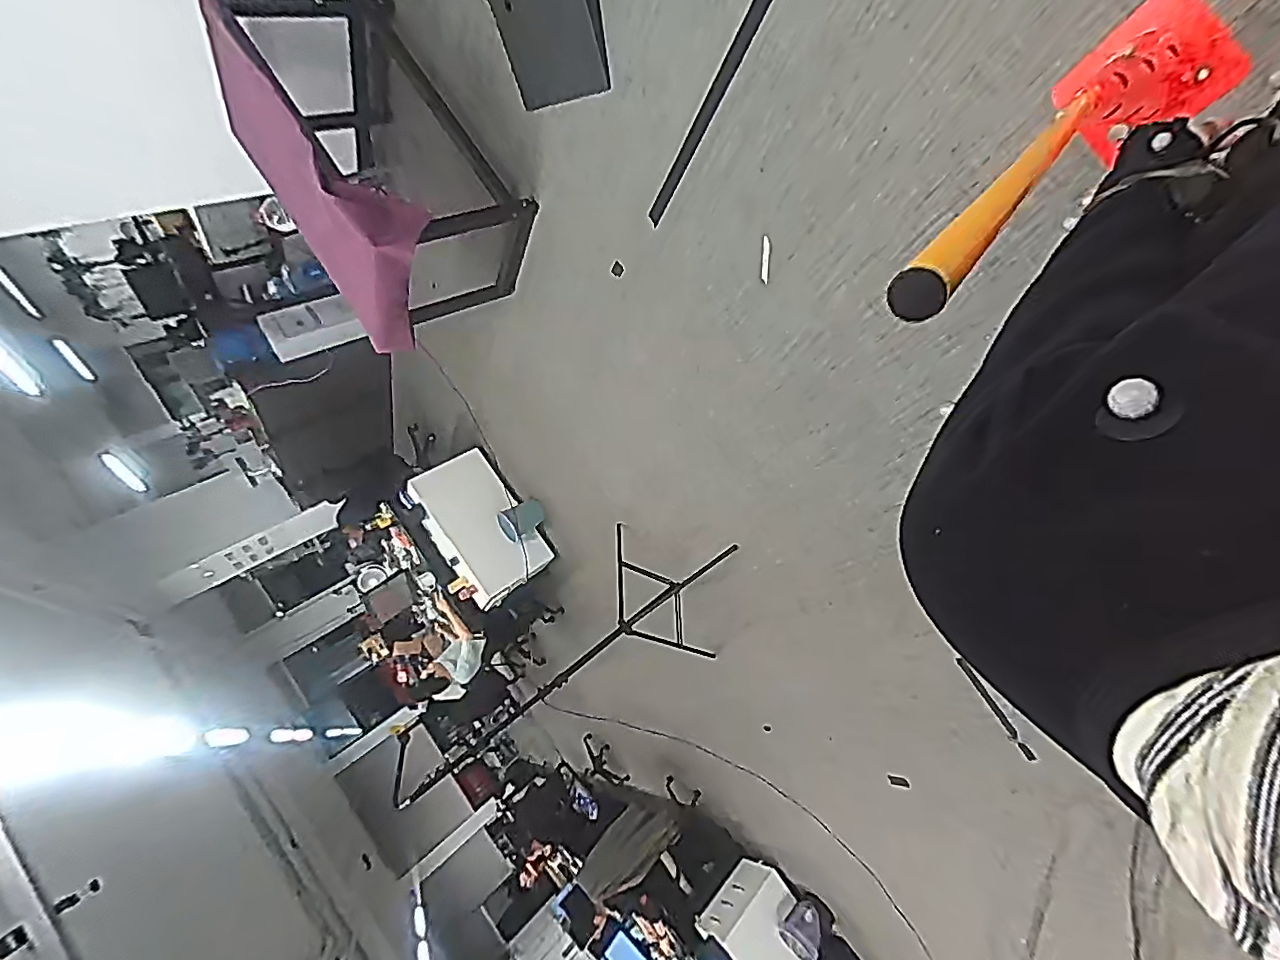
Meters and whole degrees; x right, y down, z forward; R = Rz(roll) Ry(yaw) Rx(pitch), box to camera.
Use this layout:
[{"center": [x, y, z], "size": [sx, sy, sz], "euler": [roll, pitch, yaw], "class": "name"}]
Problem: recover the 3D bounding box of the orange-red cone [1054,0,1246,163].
[{"center": [0.732, -0.608, 0.831], "size": [0.199, 0.360, 0.198], "euler": [56, 148, 3], "class": "orange-red cone"}]
